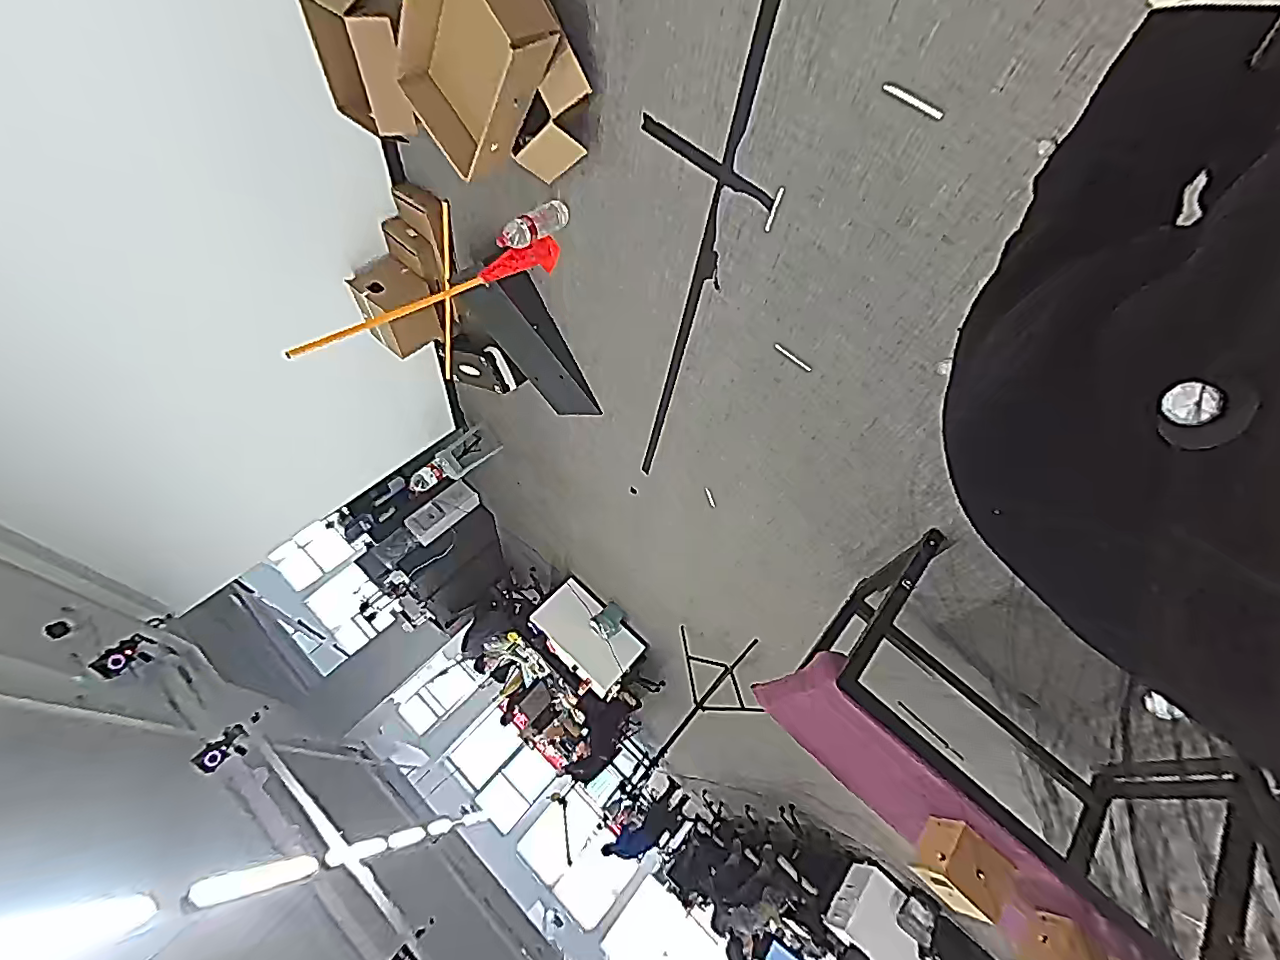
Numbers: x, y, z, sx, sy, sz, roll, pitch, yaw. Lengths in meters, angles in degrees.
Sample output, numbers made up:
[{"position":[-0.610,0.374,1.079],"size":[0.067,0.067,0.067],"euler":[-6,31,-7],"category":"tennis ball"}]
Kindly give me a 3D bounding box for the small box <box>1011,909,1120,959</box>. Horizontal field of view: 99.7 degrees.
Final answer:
[{"position":[1.184,1.338,1.490],"size":[0.179,0.176,0.168],"euler":[39,154,16],"category":"small box"}]
